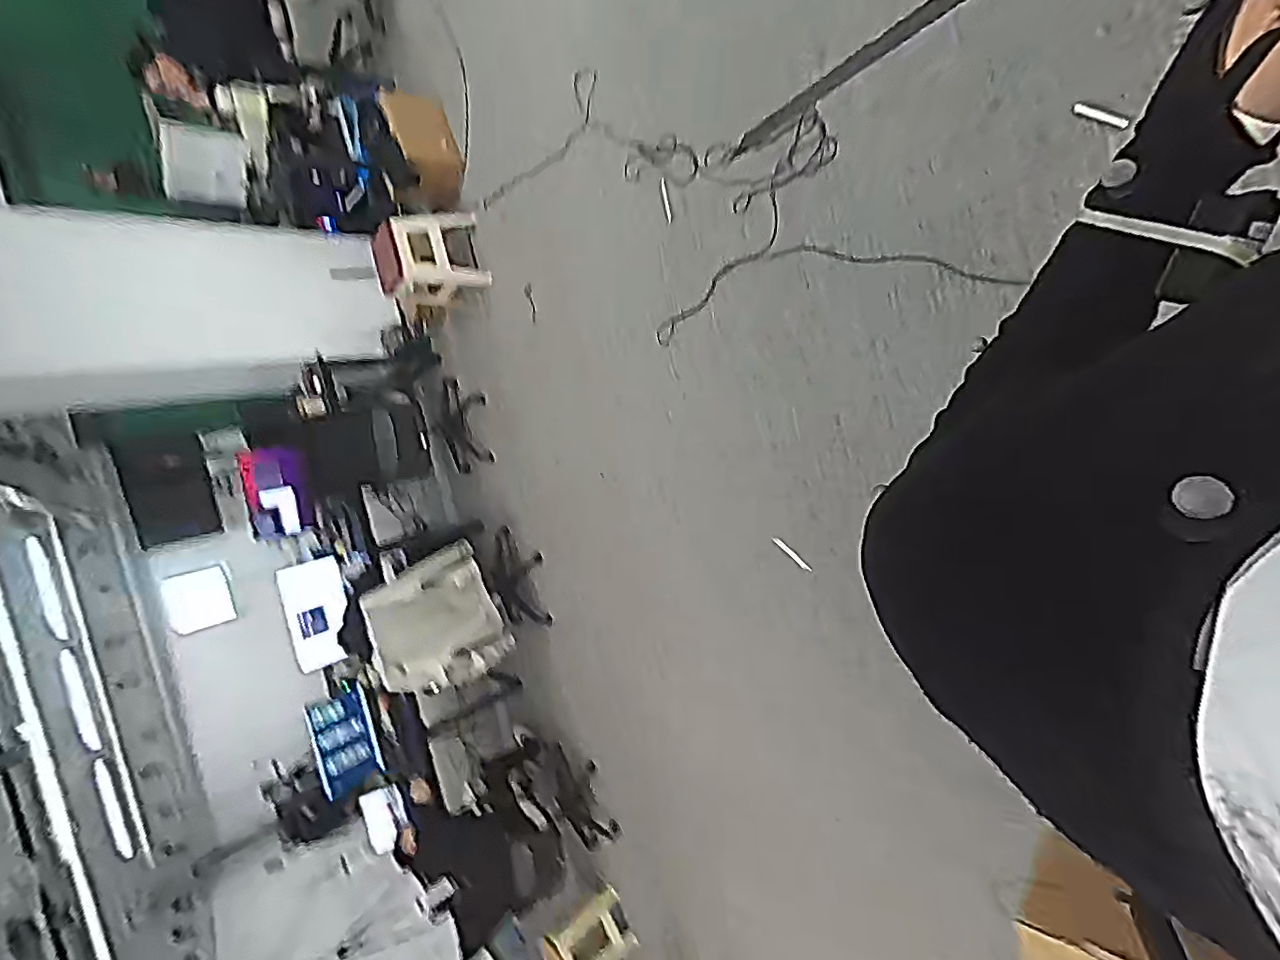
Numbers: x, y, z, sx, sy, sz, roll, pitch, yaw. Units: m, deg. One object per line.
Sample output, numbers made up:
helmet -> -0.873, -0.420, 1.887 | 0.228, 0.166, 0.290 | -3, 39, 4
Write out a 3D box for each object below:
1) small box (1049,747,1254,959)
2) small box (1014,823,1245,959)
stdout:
small box -> 0.646, 0.481, 0.683 | 0.168, 0.176, 0.179 | -8, 96, 48
small box -> 0.524, 0.518, 0.578 | 0.168, 0.176, 0.179 | -6, 97, 48
